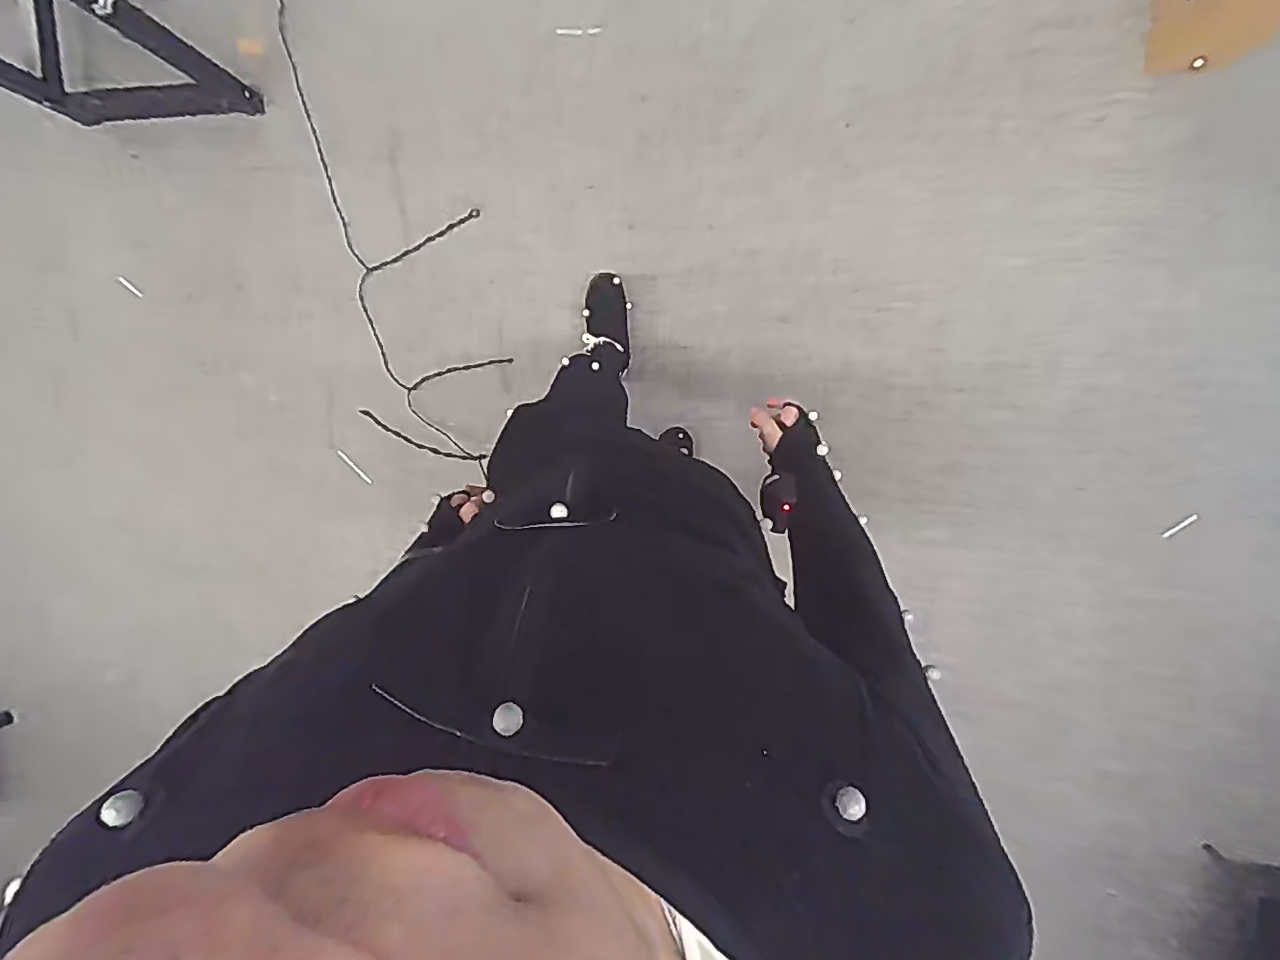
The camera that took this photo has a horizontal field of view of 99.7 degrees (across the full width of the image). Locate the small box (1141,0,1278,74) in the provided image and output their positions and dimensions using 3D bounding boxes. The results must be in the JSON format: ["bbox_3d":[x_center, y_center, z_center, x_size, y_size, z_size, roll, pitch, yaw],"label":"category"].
[{"bbox_3d":[1.336,-1.098,1.267,0.168,0.176,0.179,3,98,5],"label":"small box"}]
